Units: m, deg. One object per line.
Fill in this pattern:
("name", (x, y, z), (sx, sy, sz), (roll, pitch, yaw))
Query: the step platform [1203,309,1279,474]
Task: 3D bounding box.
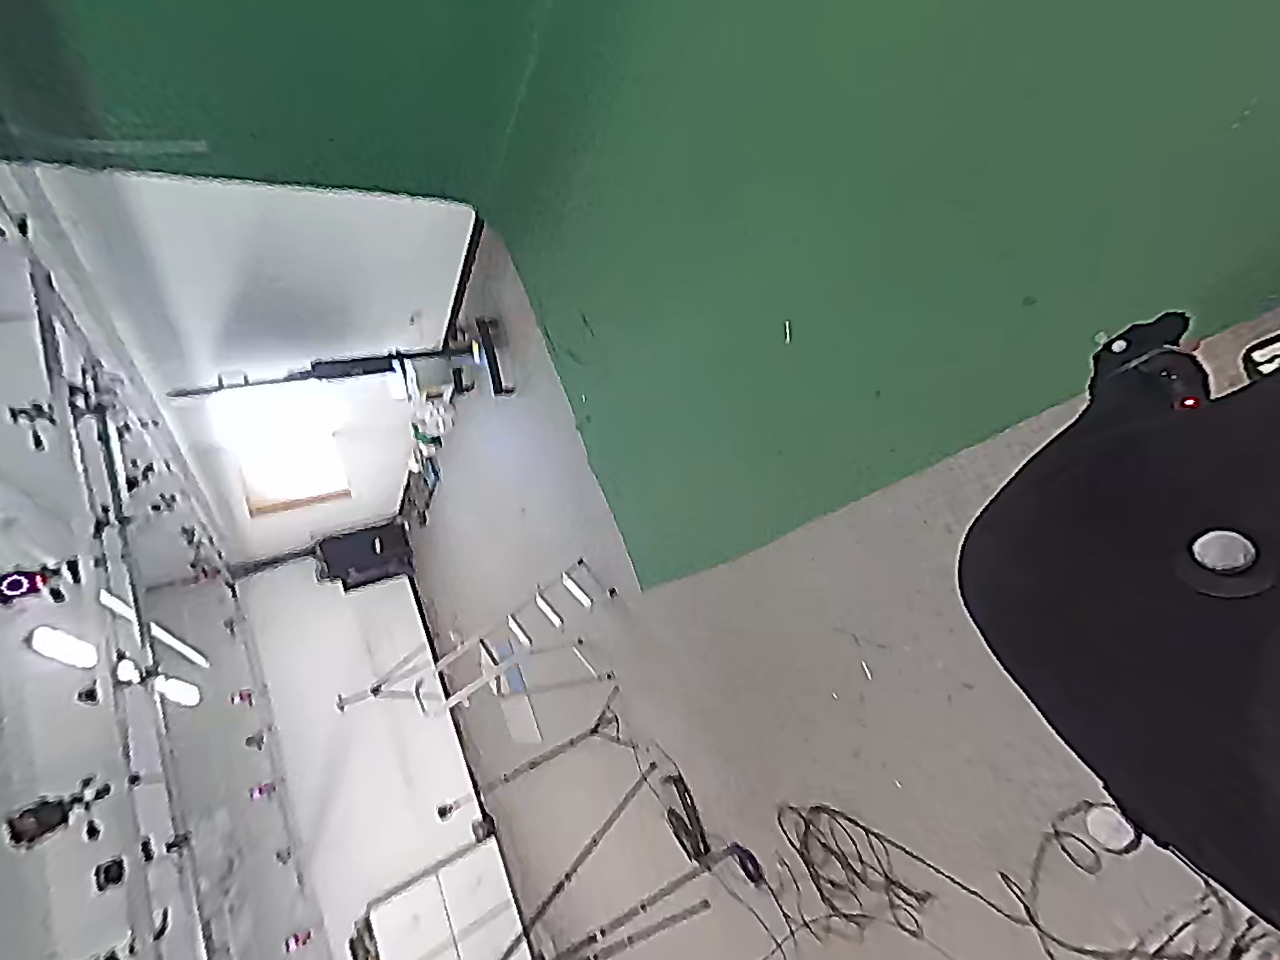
("step platform", (1.232, -0.252, 0.696), (0.684, 0.204, 0.286), (-42, 68, 54))
